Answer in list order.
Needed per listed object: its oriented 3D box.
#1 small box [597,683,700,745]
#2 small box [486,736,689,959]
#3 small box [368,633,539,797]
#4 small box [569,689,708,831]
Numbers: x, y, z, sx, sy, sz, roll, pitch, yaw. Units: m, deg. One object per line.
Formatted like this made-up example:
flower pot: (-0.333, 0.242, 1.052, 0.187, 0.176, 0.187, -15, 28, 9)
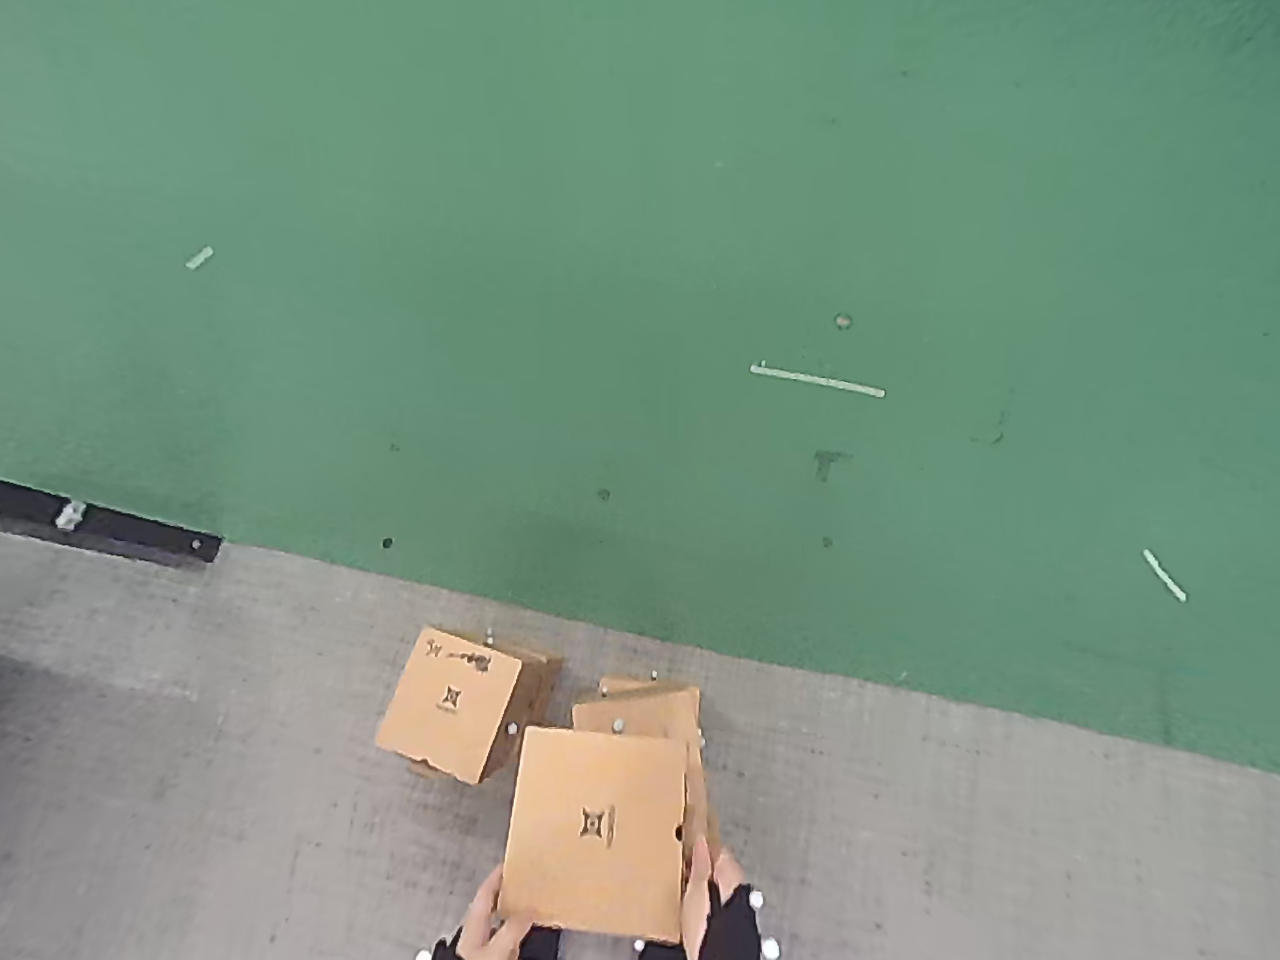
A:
small box: (0.010, 0.460, 0.971, 0.179, 0.176, 0.168, 4, 72, 2)
small box: (-0.040, 0.379, 0.580, 0.179, 0.176, 0.168, 3, 61, 5)
small box: (-0.273, 0.353, 0.840, 0.168, 0.176, 0.179, 17, 73, 8)
small box: (-0.003, 0.418, 0.814, 0.179, 0.176, 0.168, -7, 74, -2)
